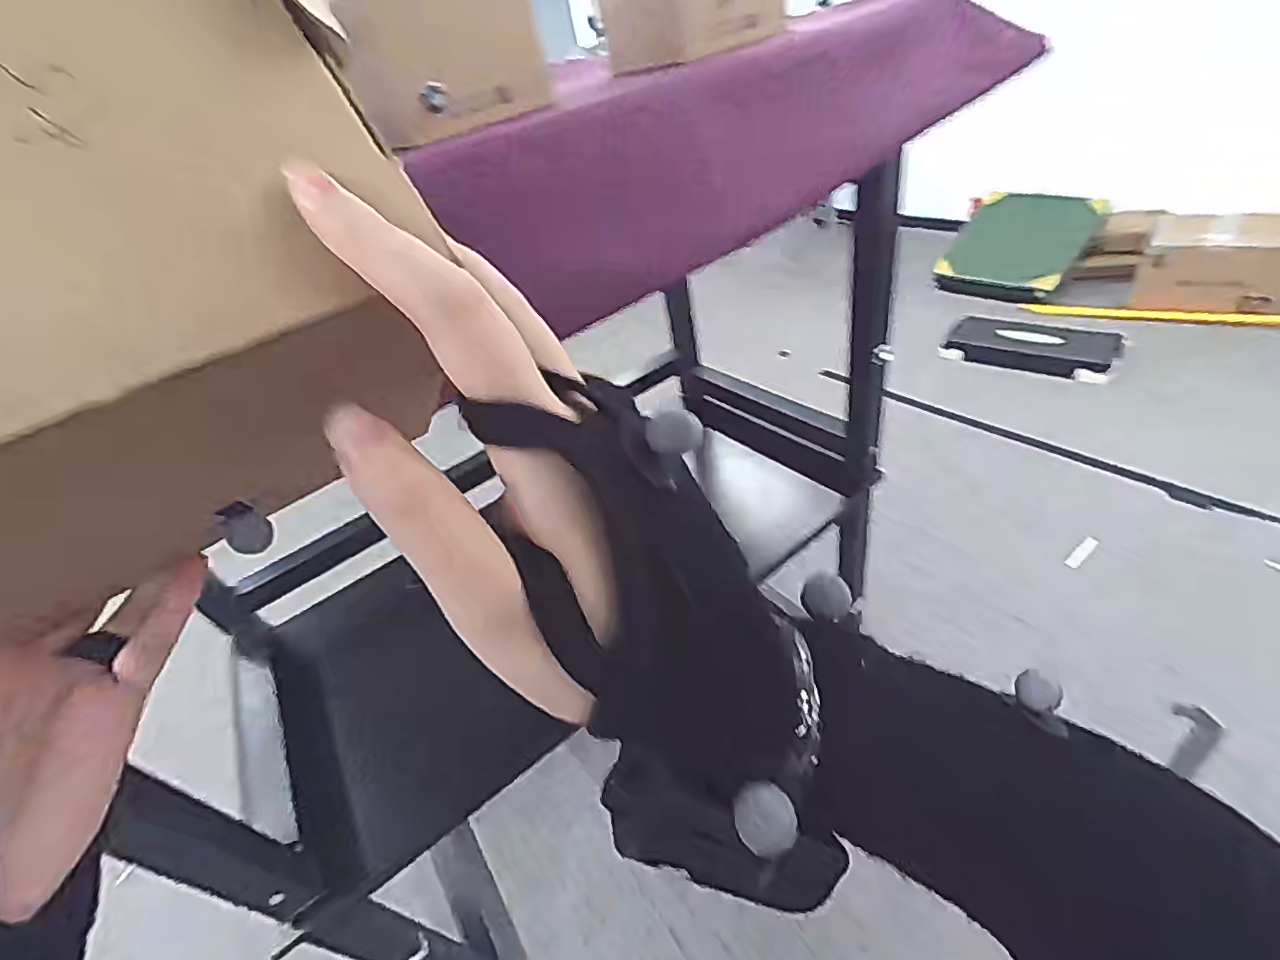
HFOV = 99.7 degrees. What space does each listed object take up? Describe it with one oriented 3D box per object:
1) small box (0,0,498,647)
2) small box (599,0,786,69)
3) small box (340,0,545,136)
[{"bbox_3d":[-0.171,-0.062,0.156,0.179,0.168,0.176,-34,5,-26],"label":"small box"},{"bbox_3d":[0.051,-0.606,0.634,0.168,0.176,0.179,-31,41,-17],"label":"small box"},{"bbox_3d":[-0.220,-0.444,0.531,0.168,0.176,0.179,-36,42,-24],"label":"small box"}]
